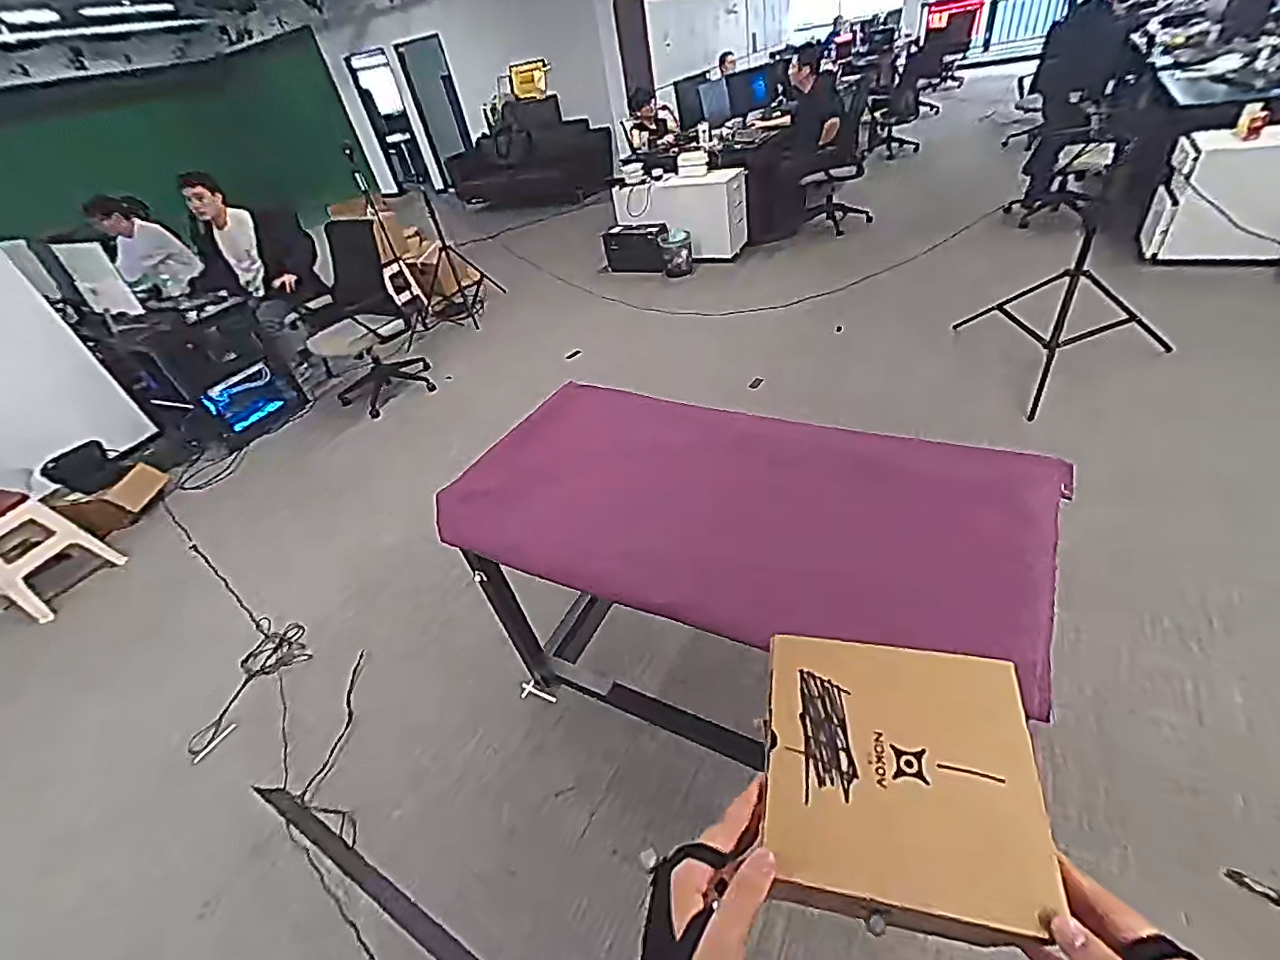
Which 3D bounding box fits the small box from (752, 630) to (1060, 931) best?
[{"bbox_3d":[0.186,0.242,0.437,0.179,0.176,0.168,3,51,14],"label":"small box"}]
